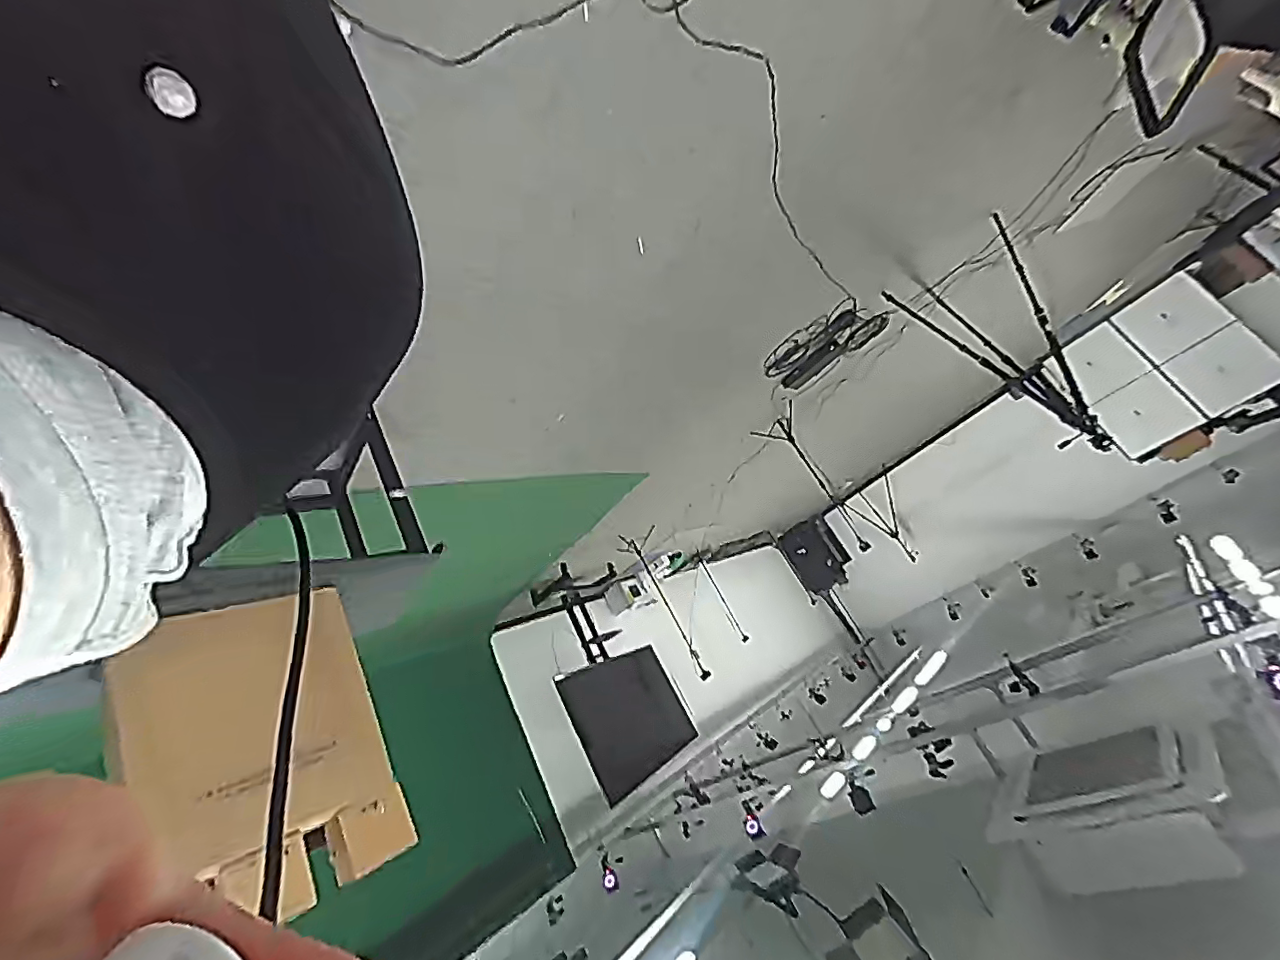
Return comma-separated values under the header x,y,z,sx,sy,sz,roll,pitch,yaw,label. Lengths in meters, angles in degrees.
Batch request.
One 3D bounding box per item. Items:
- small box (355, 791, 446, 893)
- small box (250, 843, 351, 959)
x,y,z,sx,sy,sz,roll,pitch,yaw,label
-0.678,1.007,1.515,0.168,0.176,0.179,-12,151,-47,small box
-0.838,1.030,1.328,0.168,0.176,0.179,-8,150,-45,small box
